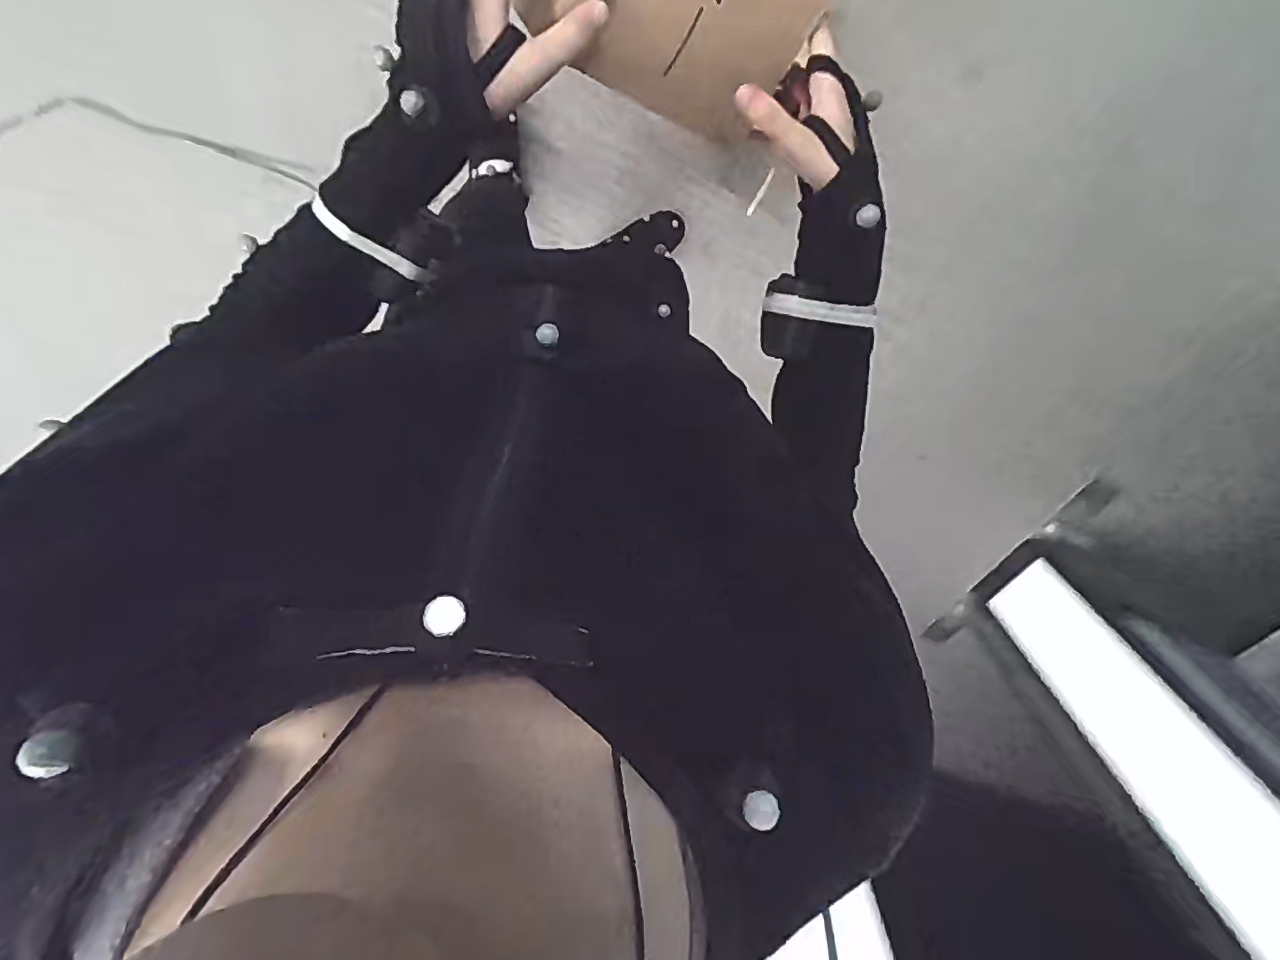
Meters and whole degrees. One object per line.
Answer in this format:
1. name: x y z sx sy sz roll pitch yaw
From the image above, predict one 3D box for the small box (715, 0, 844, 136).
1. small box: 0.261 -0.813 1.066 0.168 0.176 0.179 22 120 -15
